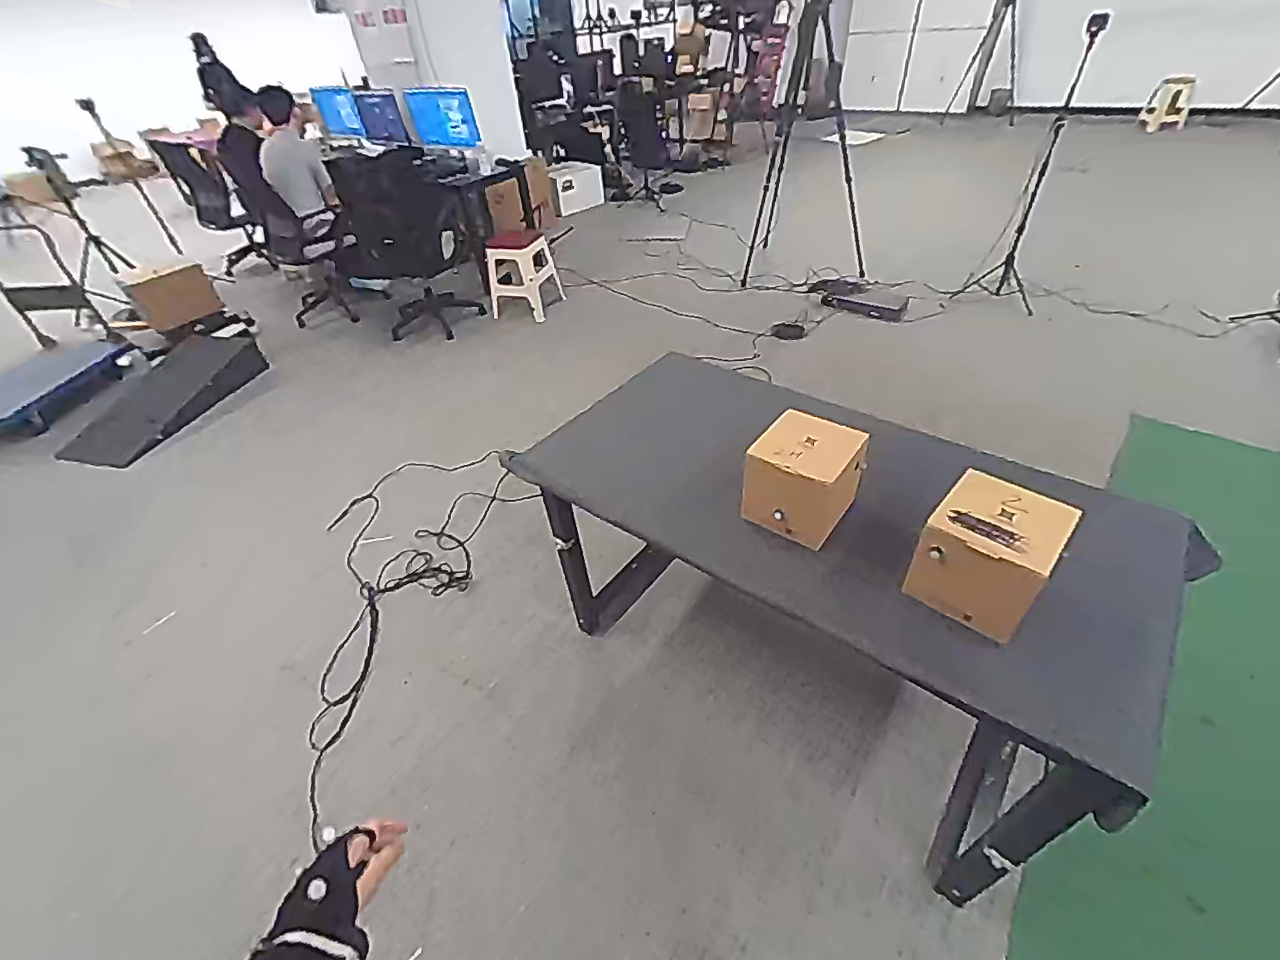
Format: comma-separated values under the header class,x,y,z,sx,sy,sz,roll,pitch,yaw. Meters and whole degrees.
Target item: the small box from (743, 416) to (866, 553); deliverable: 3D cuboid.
class,x,y,z,sx,sy,sz,roll,pitch,yaw
small box,0.310,0.007,1.047,0.168,0.176,0.179,24,48,31
